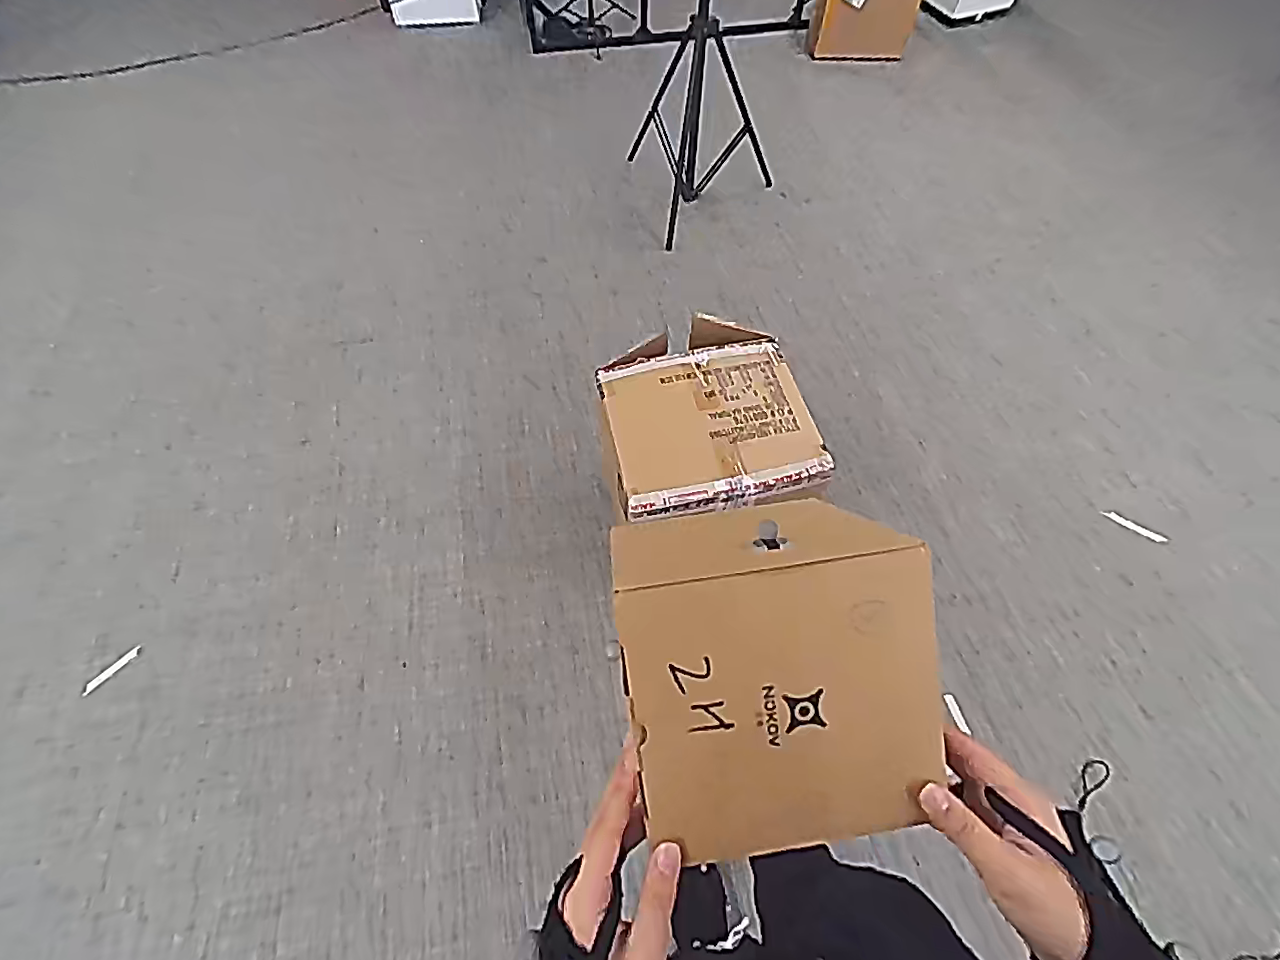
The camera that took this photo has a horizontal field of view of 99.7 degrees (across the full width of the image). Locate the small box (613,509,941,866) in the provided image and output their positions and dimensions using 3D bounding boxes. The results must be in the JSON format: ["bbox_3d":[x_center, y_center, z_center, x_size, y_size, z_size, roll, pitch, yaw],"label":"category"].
[{"bbox_3d":[0.078,0.121,0.384,0.179,0.176,0.168,-8,96,-2],"label":"small box"}]
